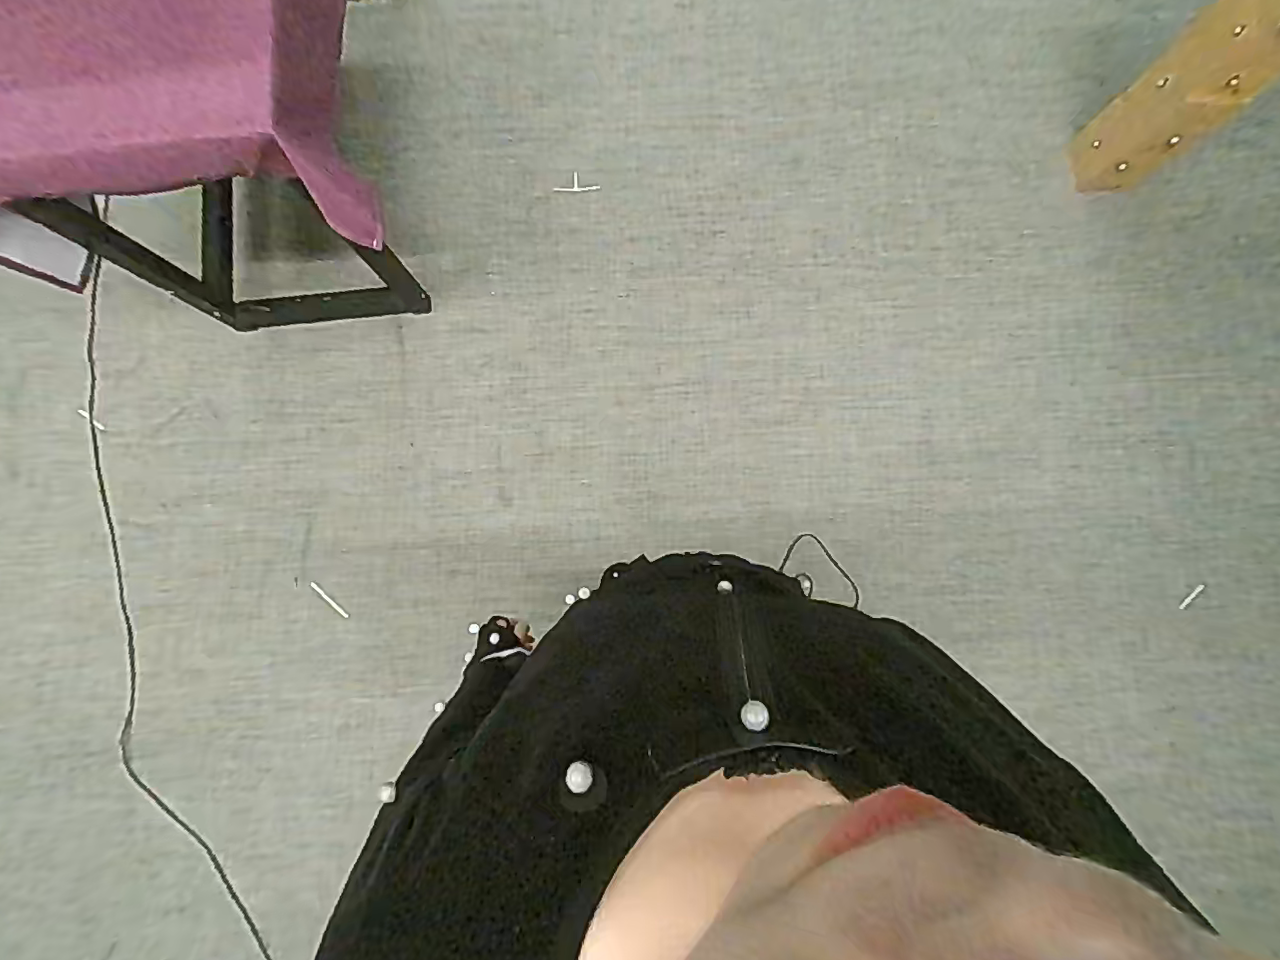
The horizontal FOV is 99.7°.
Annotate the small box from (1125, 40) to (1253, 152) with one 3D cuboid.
[{"bbox_3d":[1.434,-1.007,1.426,0.168,0.176,0.179,1,82,1],"label":"small box"}]

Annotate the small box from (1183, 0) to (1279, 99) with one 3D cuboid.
[{"bbox_3d":[1.433,-1.041,1.266,0.168,0.176,0.179,4,83,1],"label":"small box"}]
